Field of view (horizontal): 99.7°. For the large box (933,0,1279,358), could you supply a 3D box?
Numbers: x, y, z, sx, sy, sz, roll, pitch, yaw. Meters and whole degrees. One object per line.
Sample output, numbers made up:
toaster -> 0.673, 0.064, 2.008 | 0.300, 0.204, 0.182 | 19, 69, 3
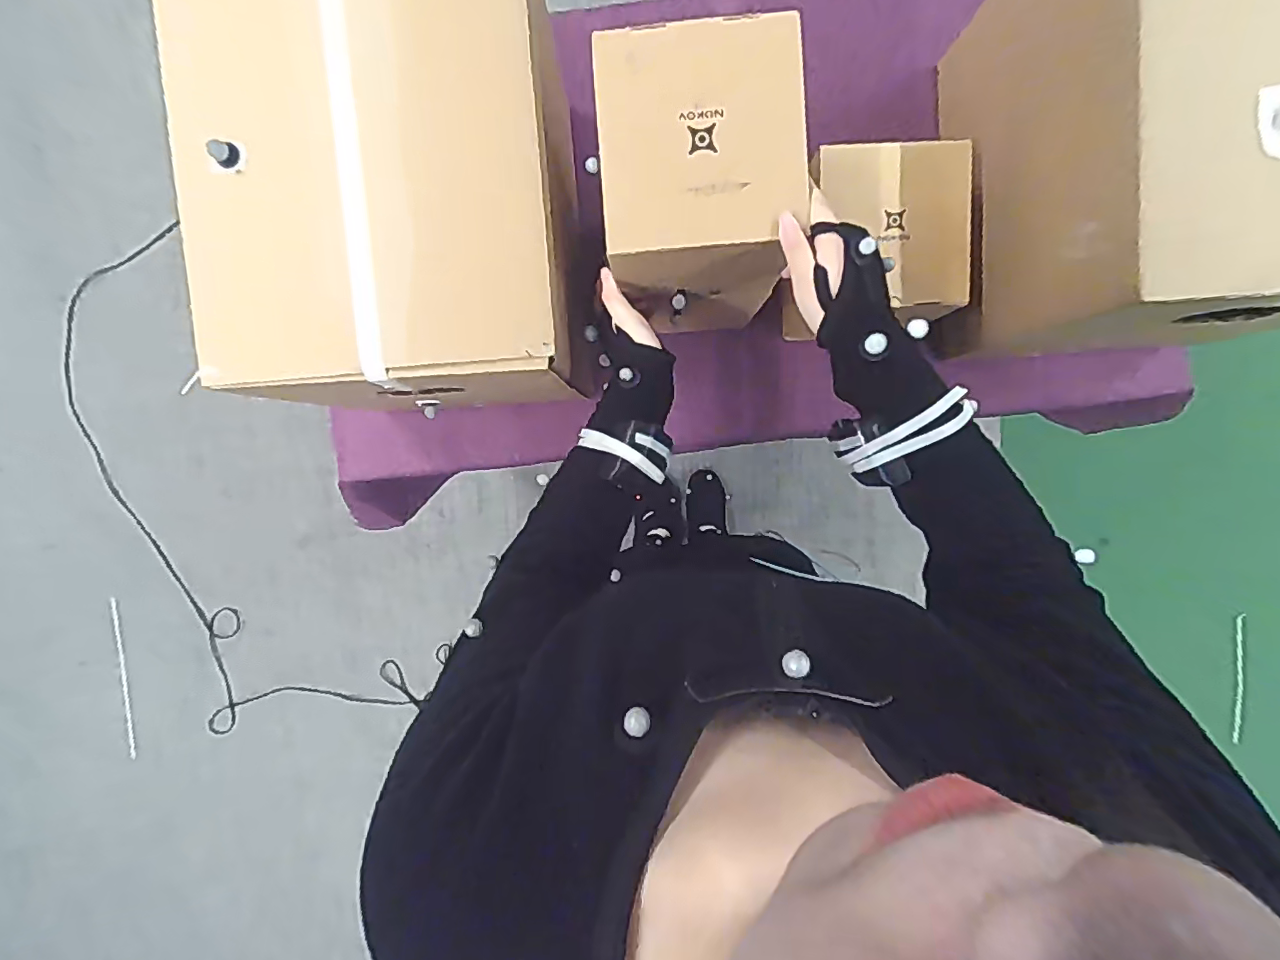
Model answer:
large box -> 0.561, -0.367, 0.600 | 0.320, 0.320, 0.408 | -3, 94, 1
